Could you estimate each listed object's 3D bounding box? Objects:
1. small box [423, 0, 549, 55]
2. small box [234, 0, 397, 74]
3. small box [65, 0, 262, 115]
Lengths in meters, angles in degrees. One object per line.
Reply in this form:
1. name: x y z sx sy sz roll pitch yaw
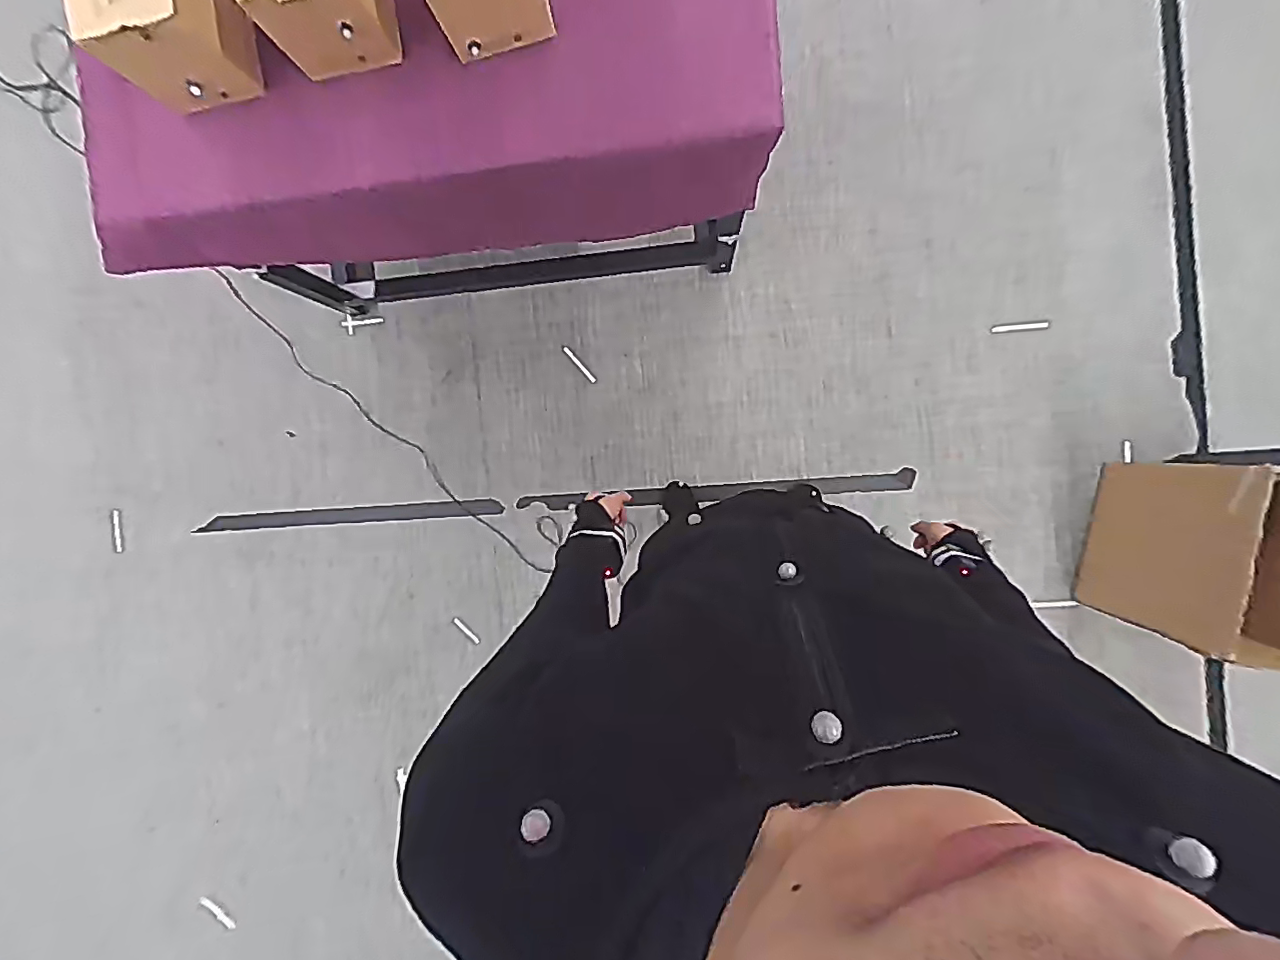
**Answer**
1. small box: -0.247 -0.788 0.811 0.168 0.176 0.179 -13 90 5
2. small box: -0.499 -0.769 0.834 0.168 0.176 0.179 -8 91 4
3. small box: -0.745 -0.727 0.854 0.168 0.176 0.179 -9 92 6
